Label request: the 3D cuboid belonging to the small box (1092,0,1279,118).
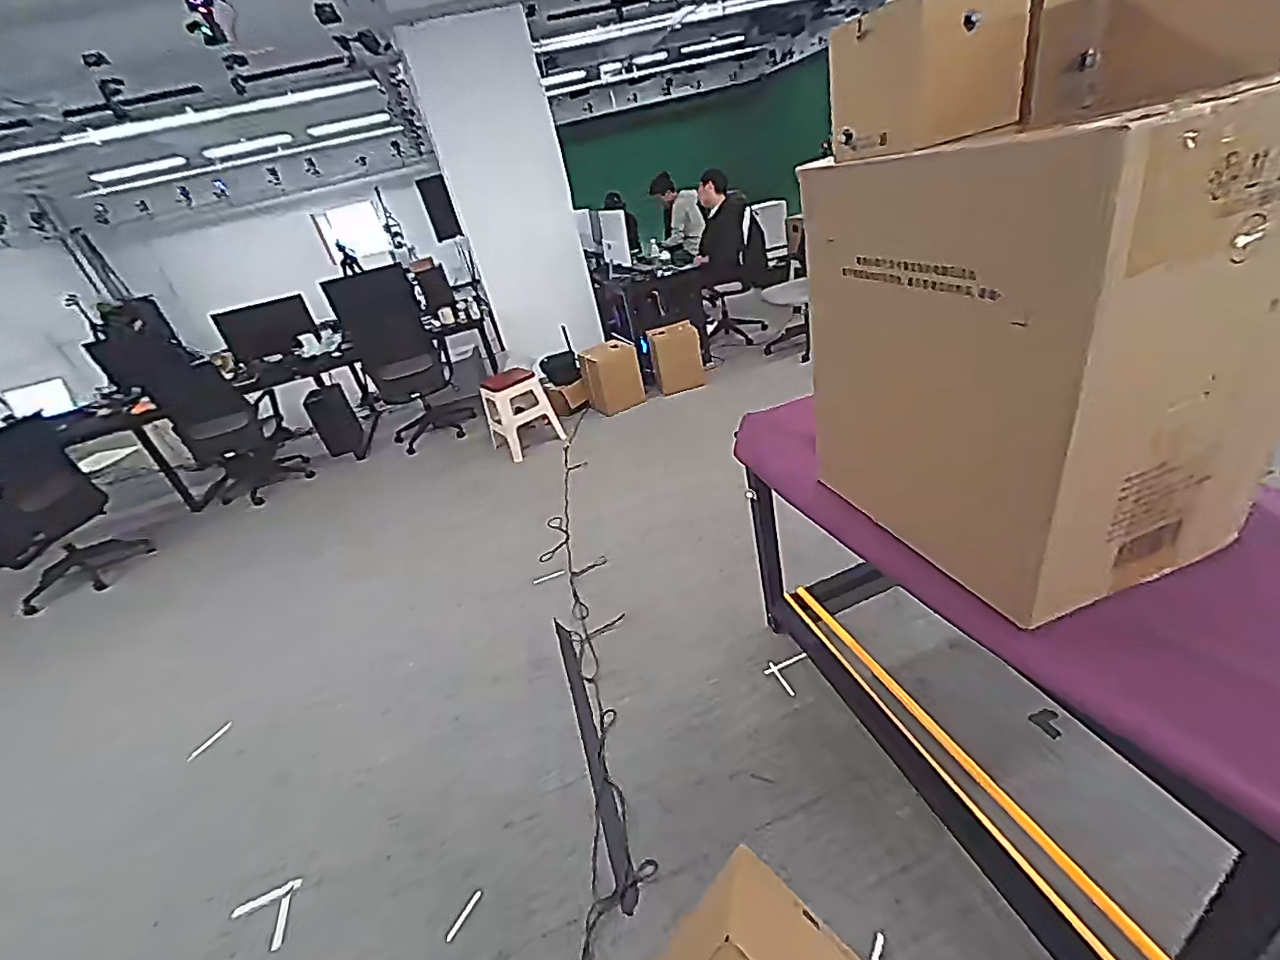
[{"bbox_3d":[0.642,-0.517,0.582,0.168,0.176,0.179,-22,28,-14],"label":"small box"}]
